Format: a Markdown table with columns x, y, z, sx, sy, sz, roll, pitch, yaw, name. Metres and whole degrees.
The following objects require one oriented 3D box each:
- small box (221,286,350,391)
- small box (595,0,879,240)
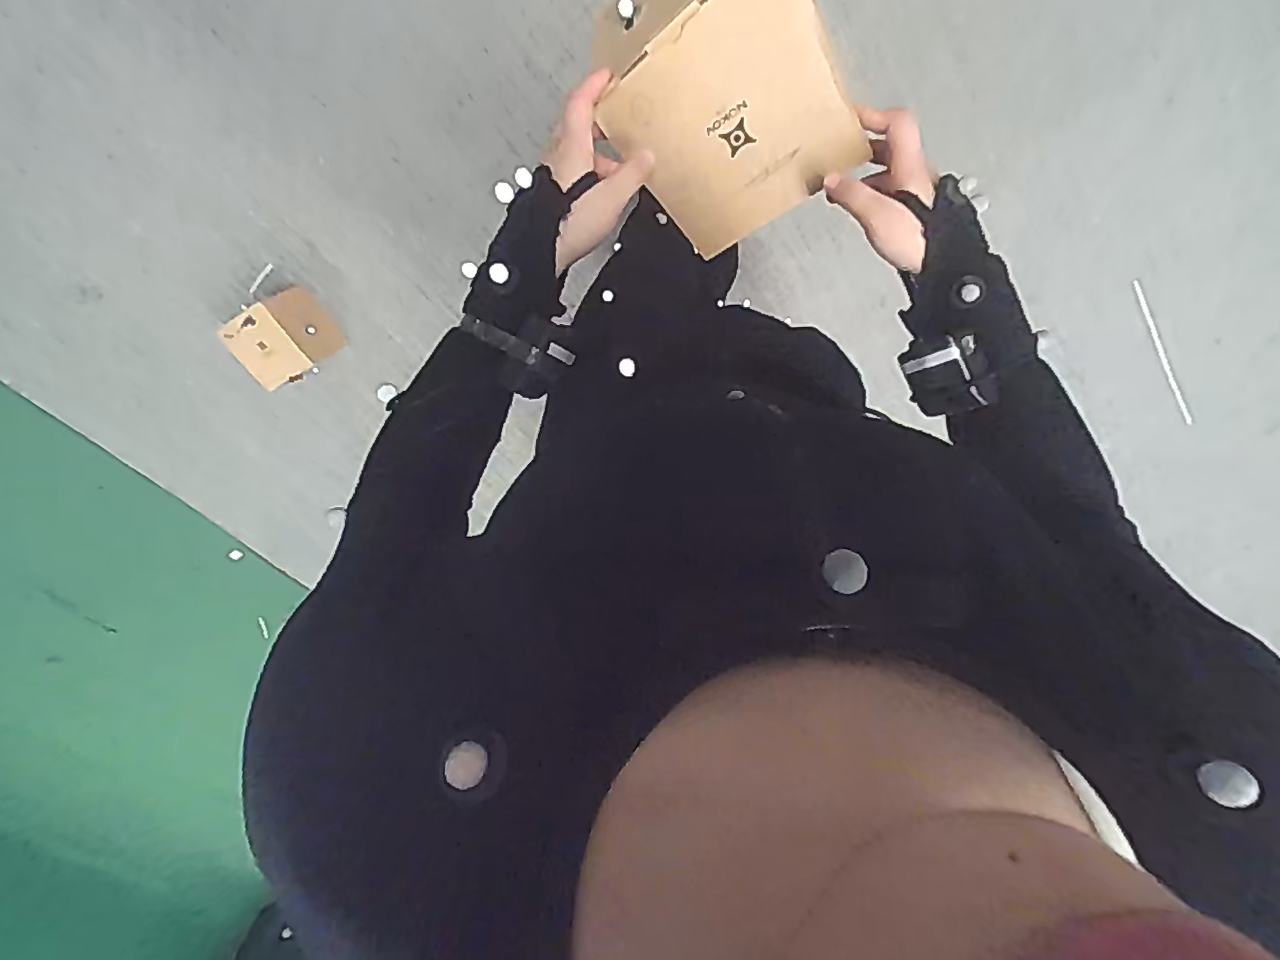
| x | y | z | sx | sy | sz | roll | pitch | yaw | name |
| --- | --- | --- | --- | --- | --- | --- | --- | --- | --- |
| -0.883 | -0.361 | 1.367 | 0.168 | 0.176 | 0.179 | -23 | 119 | 17 | small box |
| 0.080 | -0.360 | 0.466 | 0.168 | 0.176 | 0.179 | -22 | 143 | 34 | small box |
